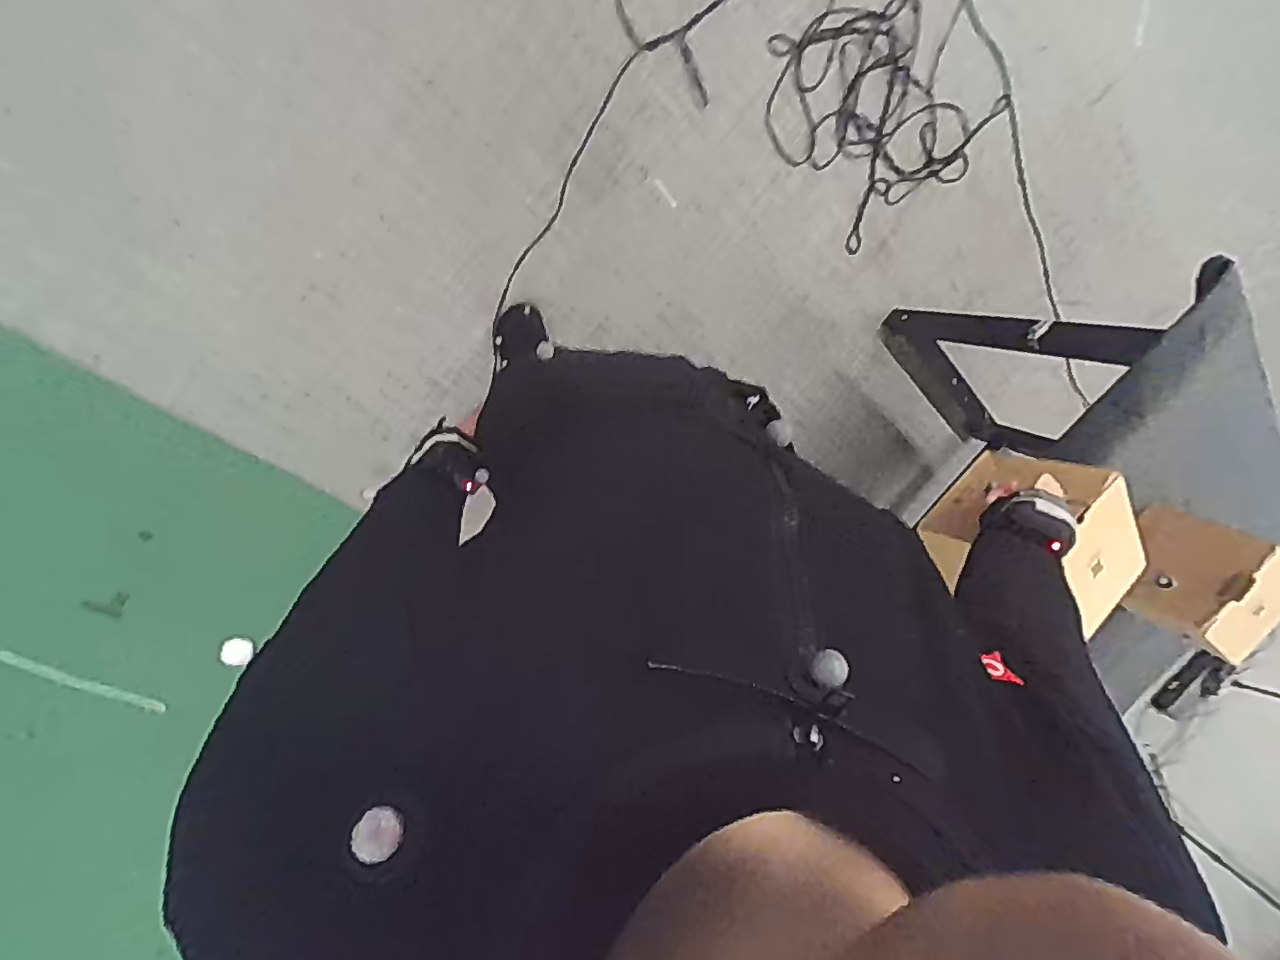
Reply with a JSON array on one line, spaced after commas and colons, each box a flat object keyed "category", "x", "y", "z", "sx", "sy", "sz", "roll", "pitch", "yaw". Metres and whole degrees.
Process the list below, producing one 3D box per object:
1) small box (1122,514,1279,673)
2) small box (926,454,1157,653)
[{"category": "small box", "x": 0.916, "y": 0.176, "z": 0.883, "sx": 0.179, "sy": 0.176, "sz": 0.168, "roll": 29, "pitch": 100, "yaw": -27}, {"category": "small box", "x": 0.525, "y": 0.085, "z": 0.717, "sx": 0.168, "sy": 0.176, "sz": 0.179, "roll": -44, "pitch": 115, "yaw": -10}]
